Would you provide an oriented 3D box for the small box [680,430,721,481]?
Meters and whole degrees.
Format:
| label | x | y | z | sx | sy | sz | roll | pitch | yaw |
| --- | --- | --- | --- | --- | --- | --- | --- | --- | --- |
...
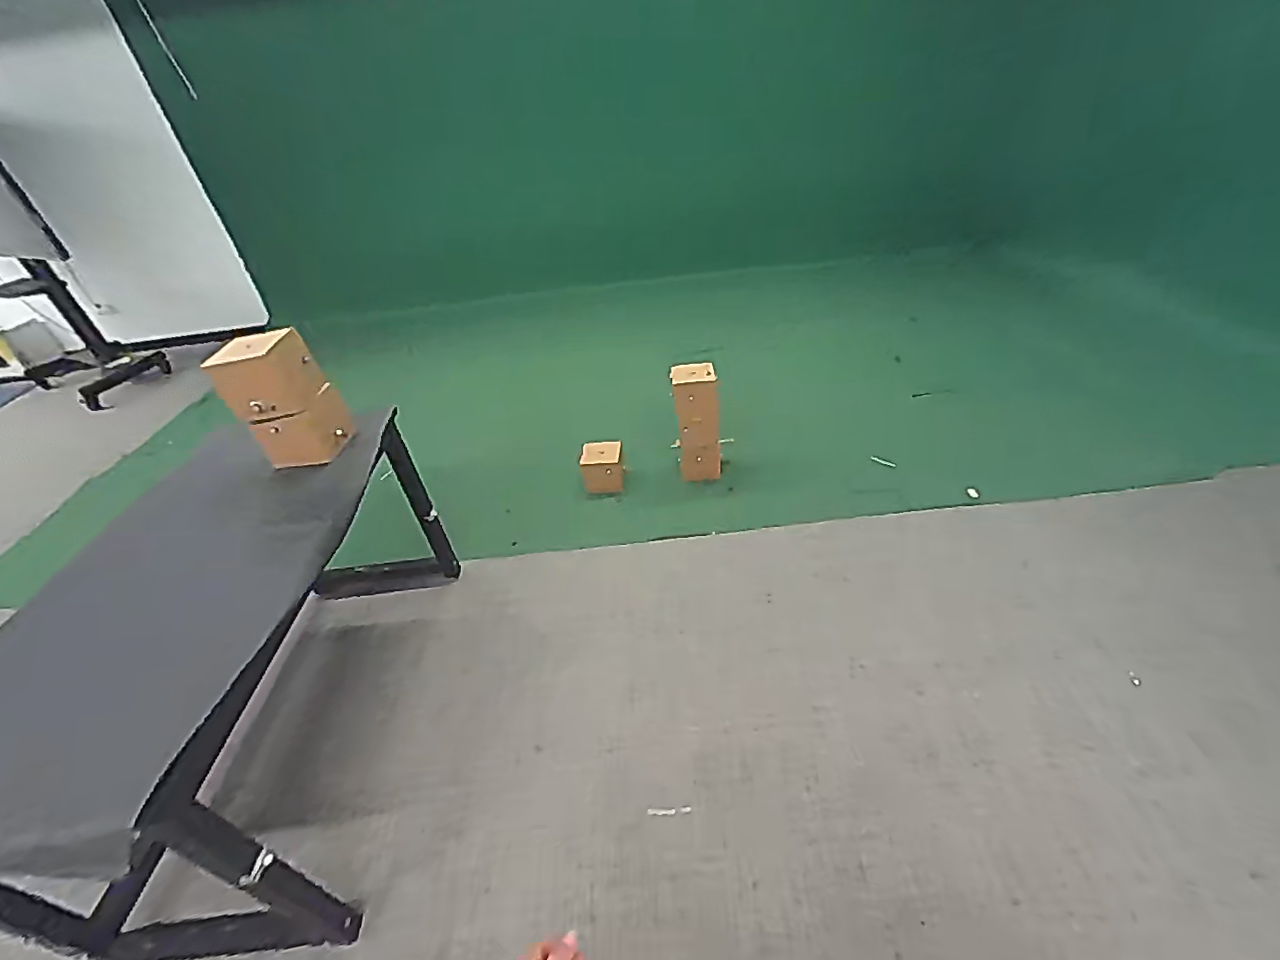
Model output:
| label | x | y | z | sx | sy | sz | roll | pitch | yaw |
| --- | --- | --- | --- | --- | --- | --- | --- | --- | --- |
| small box | 0.276 | -0.110 | 2.459 | 0.179 | 0.176 | 0.168 | -4 | 38 | 5 |

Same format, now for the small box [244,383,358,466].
| label | x | y | z | sx | sy | sz | roll | pitch | yaw |
| --- | --- | --- | --- | --- | --- | --- | --- | --- | --- |
| small box | -0.941 | -0.153 | 1.518 | 0.179 | 0.176 | 0.168 | -4 | 38 | 7 |

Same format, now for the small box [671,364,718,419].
| label | x | y | z | sx | sy | sz | roll | pitch | yaw |
| --- | --- | --- | --- | --- | --- | --- | --- | --- | --- |
| small box | 0.228 | -0.368 | 2.262 | 0.179 | 0.176 | 0.168 | -6 | 37 | 4 |

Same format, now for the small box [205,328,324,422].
| label | x | y | z | sx | sy | sz | roll | pitch | yaw |
| --- | --- | --- | --- | --- | --- | --- | --- | --- | --- |
| small box | -0.964 | -0.273 | 1.411 | 0.168 | 0.176 | 0.179 | -11 | 39 | 2 |

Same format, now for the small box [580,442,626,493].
| label | x | y | z | sx | sy | sz | roll | pitch | yaw |
| --- | --- | --- | --- | --- | --- | --- | --- | --- | --- |
| small box | -0.164 | -0.055 | 2.463 | 0.179 | 0.176 | 0.168 | -3 | 37 | 7 |
